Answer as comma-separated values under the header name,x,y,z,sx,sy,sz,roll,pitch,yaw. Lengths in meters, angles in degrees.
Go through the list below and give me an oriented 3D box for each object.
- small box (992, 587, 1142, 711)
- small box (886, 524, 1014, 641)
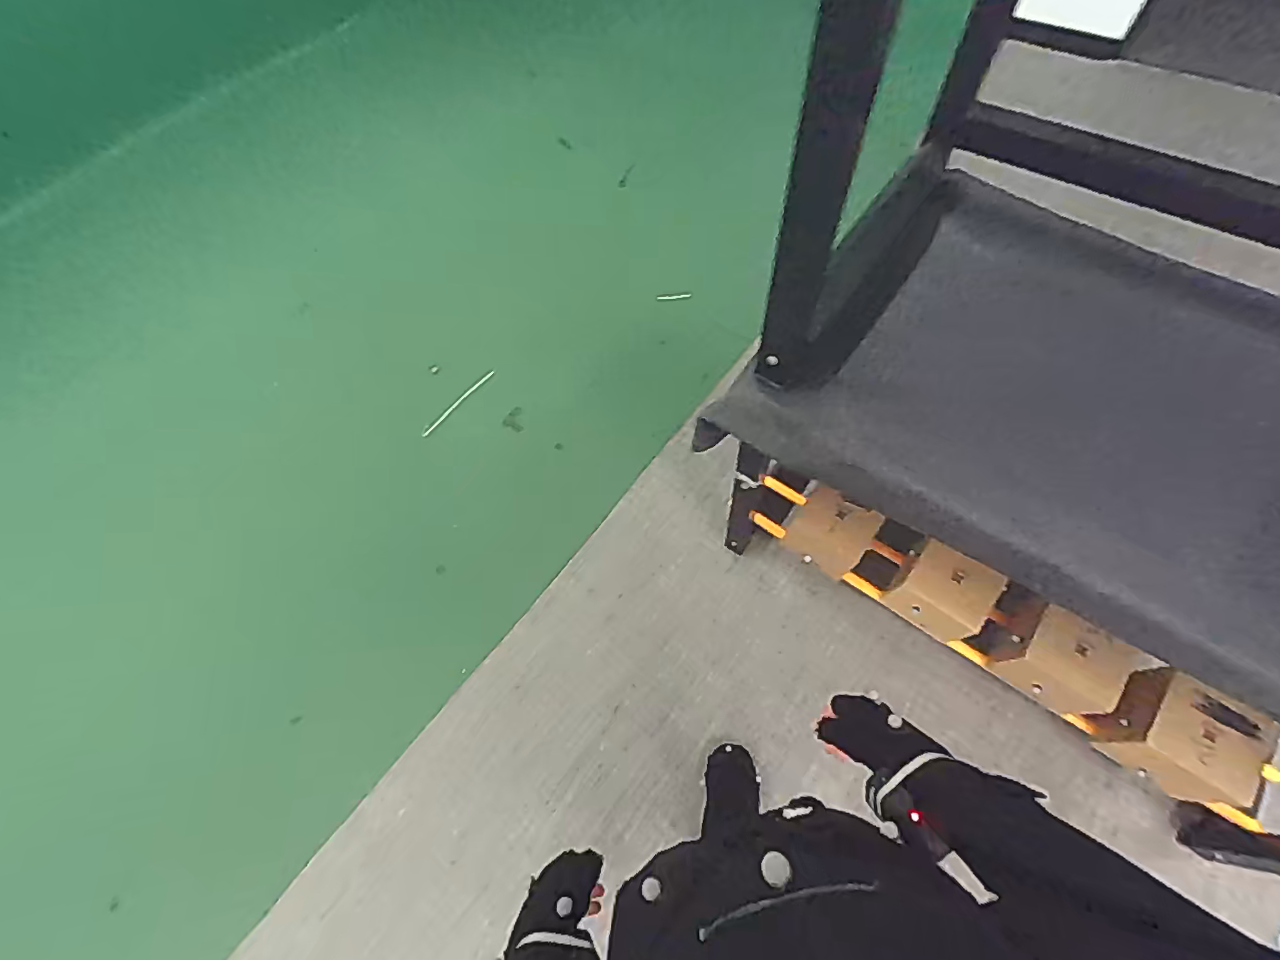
name,x,y,z,sx,sy,sz,roll,pitch,yaw
small box,0.874,0.357,1.127,0.168,0.176,0.179,32,71,20
small box,0.677,0.235,1.207,0.168,0.176,0.179,34,72,19
